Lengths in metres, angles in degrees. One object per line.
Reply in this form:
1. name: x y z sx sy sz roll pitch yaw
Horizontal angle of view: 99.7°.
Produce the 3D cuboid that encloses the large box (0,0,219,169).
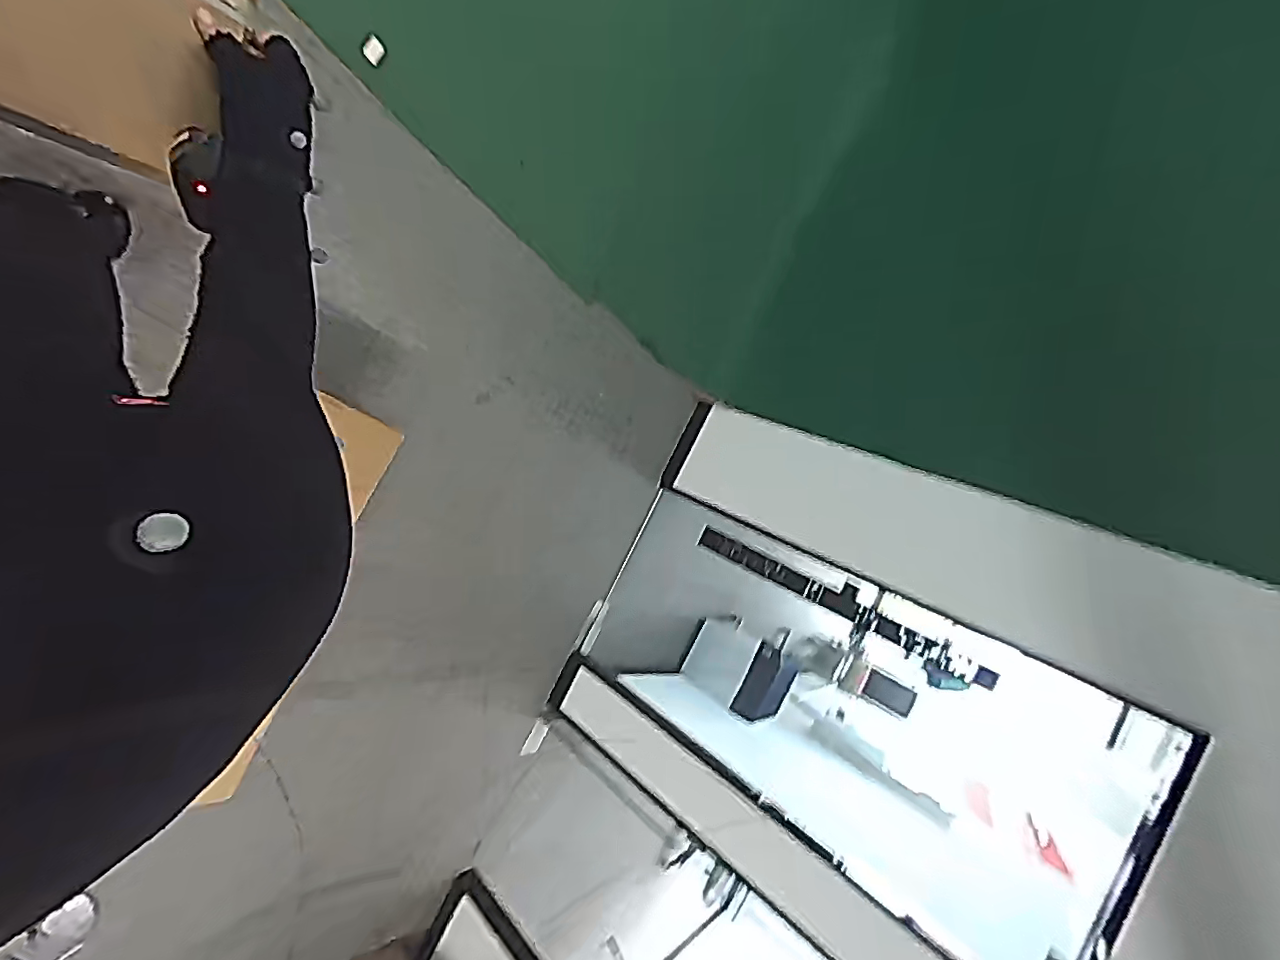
1. large box: -0.597 -0.499 0.423 0.408 0.320 0.320 8 106 -48
